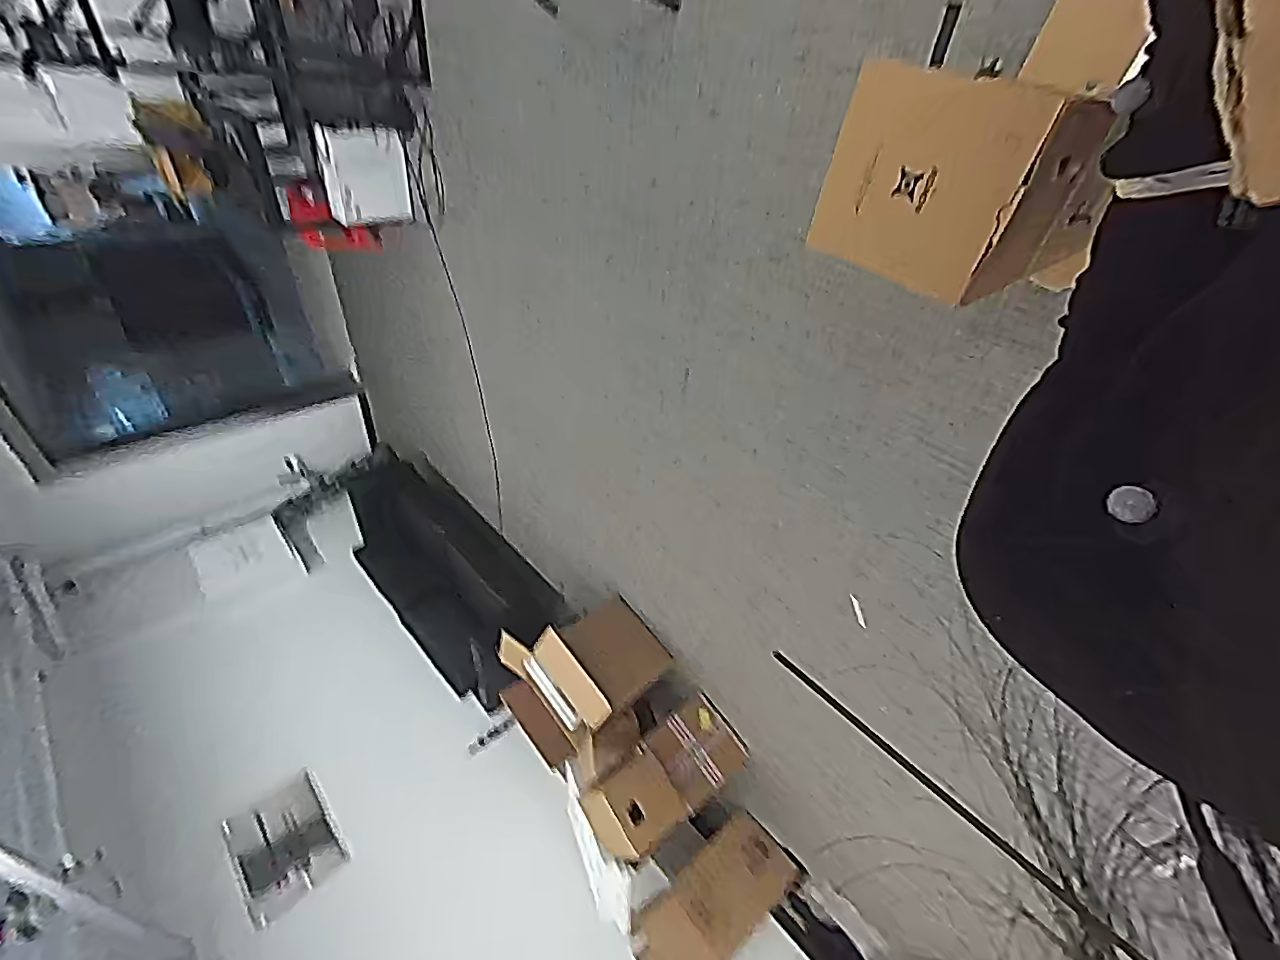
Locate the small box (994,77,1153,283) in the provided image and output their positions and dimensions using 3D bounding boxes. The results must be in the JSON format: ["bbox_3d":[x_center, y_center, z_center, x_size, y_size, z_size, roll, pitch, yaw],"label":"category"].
[{"bbox_3d":[0.429,-0.352,0.622,0.179,0.176,0.168,40,139,30],"label":"small box"}]

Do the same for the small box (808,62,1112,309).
[{"bbox_3d":[0.307,-0.293,0.533,0.179,0.176,0.168,40,139,32],"label":"small box"}]

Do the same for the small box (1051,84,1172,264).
[{"bbox_3d":[0.545,-0.413,0.719,0.179,0.176,0.168,40,139,28],"label":"small box"}]
